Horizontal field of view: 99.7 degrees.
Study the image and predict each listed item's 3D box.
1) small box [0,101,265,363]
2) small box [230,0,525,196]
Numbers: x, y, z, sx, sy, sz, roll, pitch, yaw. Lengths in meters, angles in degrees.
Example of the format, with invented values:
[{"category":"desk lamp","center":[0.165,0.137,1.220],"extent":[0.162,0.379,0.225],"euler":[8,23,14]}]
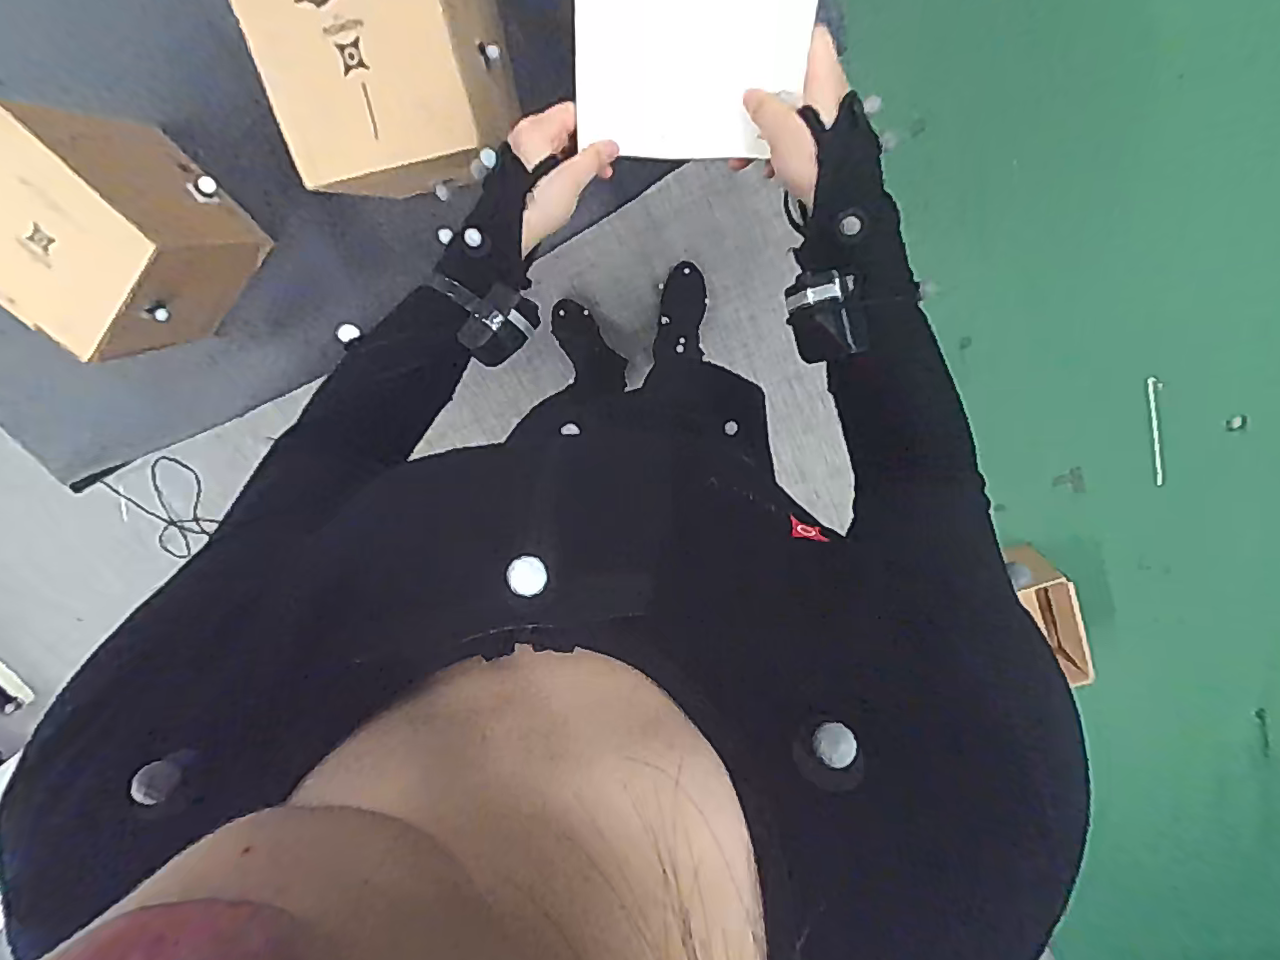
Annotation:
[{"category":"small box","center":[-0.565,-0.260,0.591],"extent":[0.179,0.176,0.168],"euler":[-39,108,19]},{"category":"small box","center":[-0.223,-0.376,0.498],"extent":[0.168,0.176,0.179],"euler":[-8,115,9]}]
